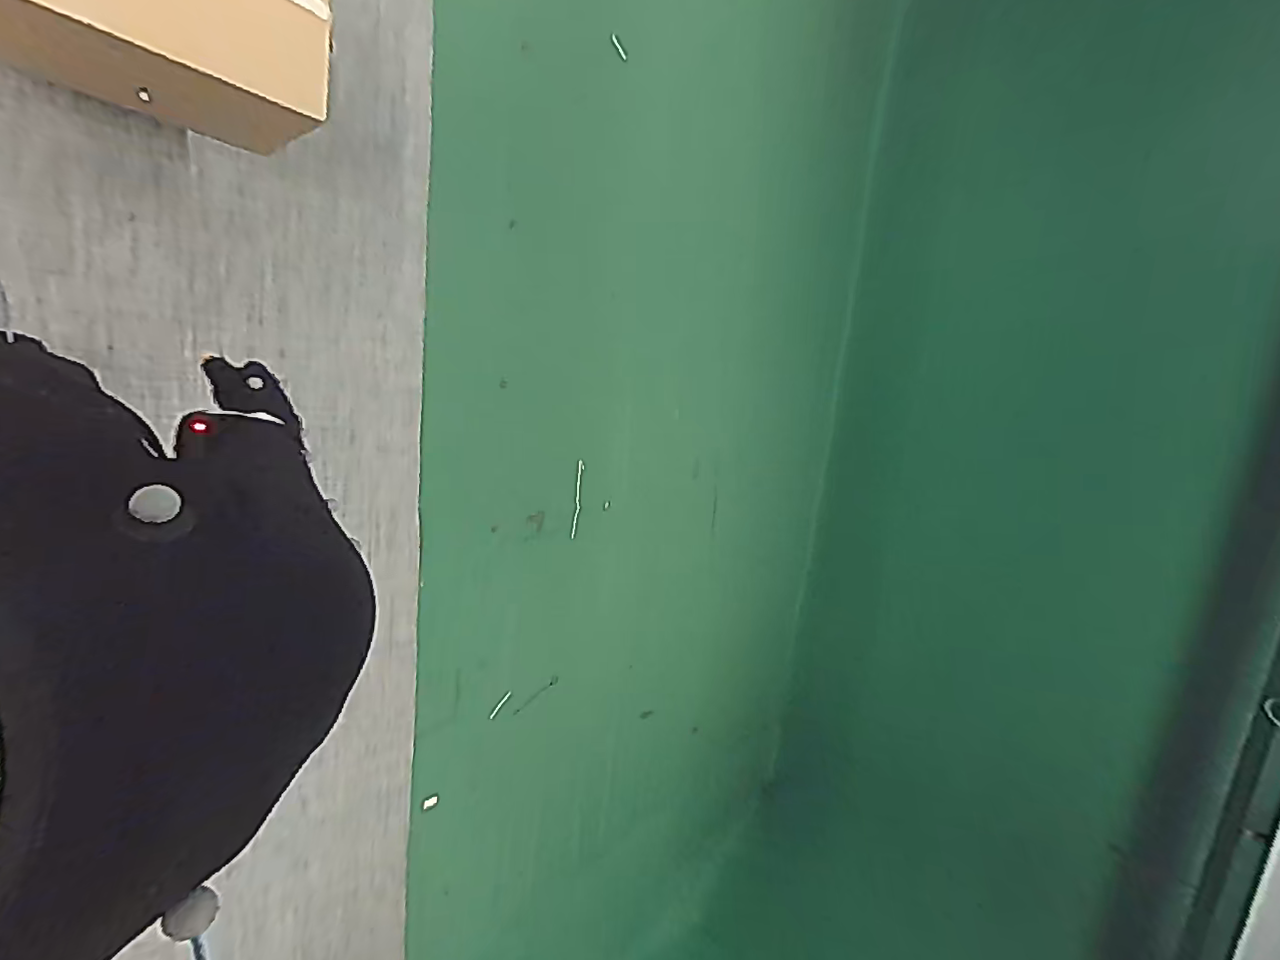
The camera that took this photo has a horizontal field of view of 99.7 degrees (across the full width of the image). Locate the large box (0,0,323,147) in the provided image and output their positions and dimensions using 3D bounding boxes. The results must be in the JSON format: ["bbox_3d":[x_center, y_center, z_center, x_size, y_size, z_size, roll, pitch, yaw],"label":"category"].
[{"bbox_3d":[-0.747,-0.761,0.808,0.408,0.320,0.320,-4,104,-50],"label":"large box"}]
